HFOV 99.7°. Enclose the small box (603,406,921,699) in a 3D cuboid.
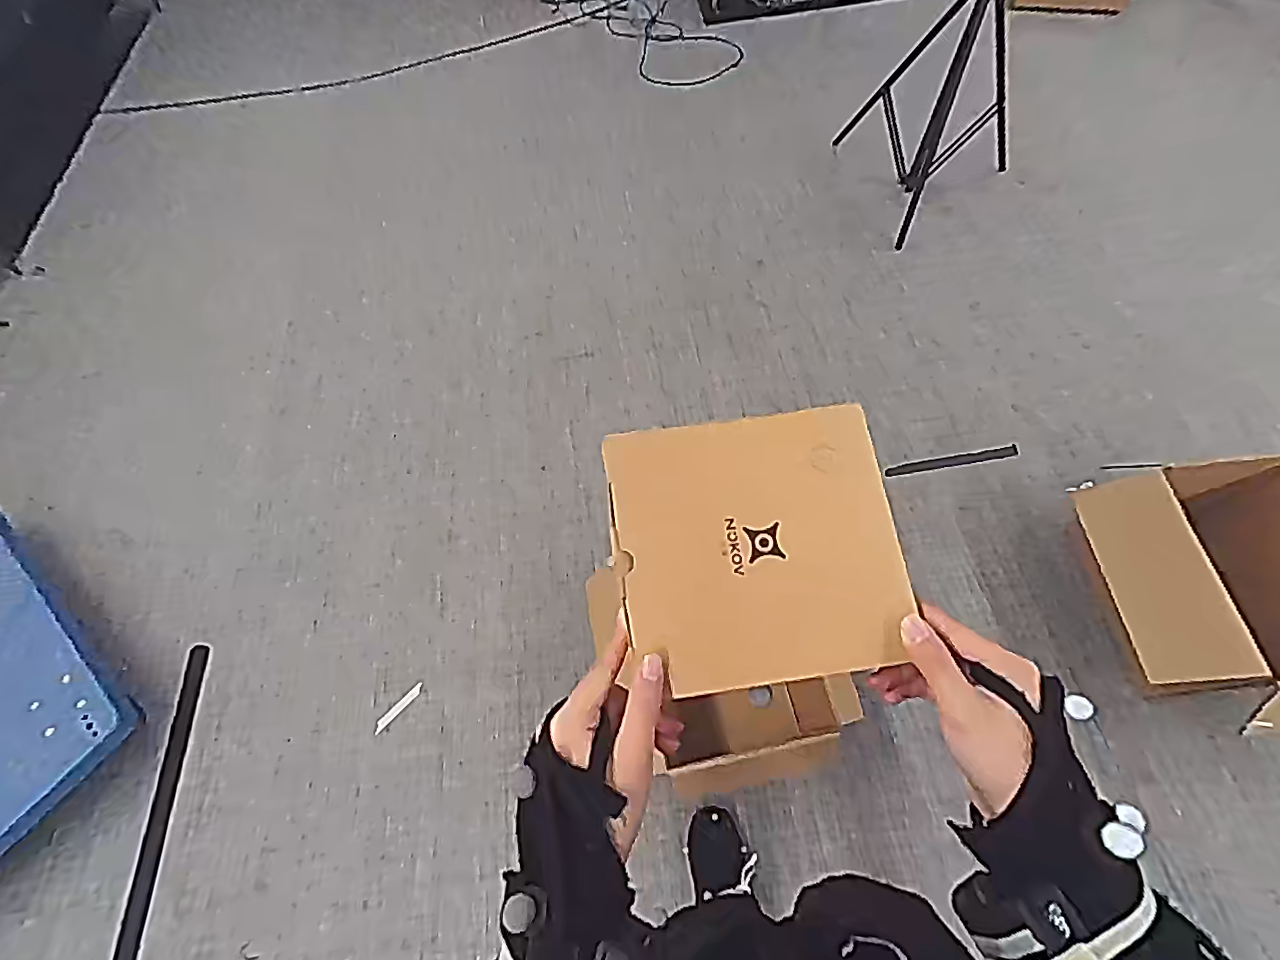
[{"bbox_3d":[0.071,0.059,0.412,0.179,0.176,0.168,-8,75,-1],"label":"small box"}]
